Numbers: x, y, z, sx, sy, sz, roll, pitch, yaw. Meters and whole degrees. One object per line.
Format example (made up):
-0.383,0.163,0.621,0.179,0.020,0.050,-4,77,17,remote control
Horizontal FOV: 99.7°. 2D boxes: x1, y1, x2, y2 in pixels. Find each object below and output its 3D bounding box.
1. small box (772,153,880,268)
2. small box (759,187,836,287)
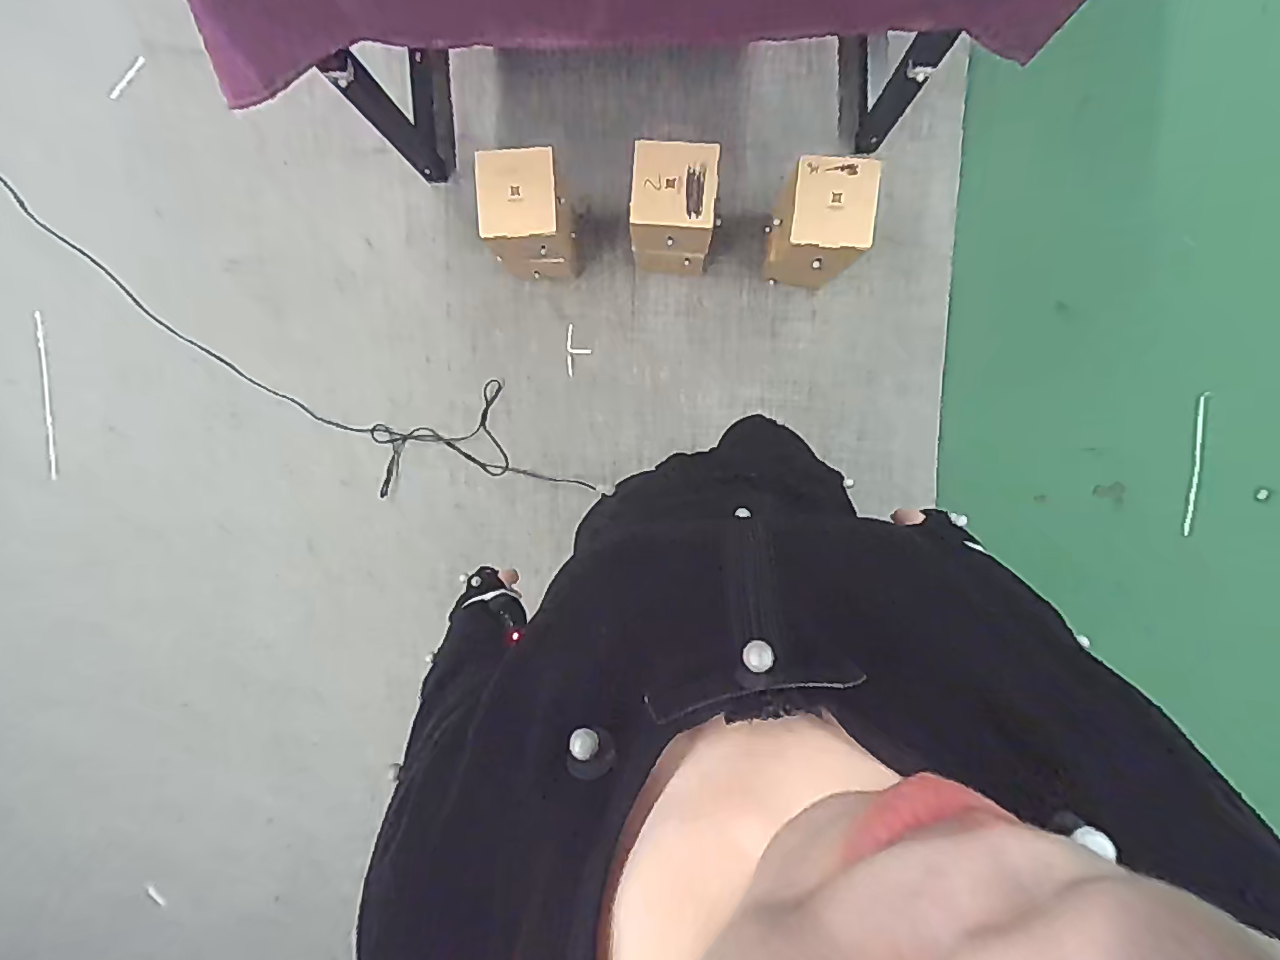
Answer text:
0.392,-0.571,1.169,0.168,0.176,0.179,6,97,0,small box
0.398,-0.592,1.334,0.168,0.176,0.179,10,95,2,small box
